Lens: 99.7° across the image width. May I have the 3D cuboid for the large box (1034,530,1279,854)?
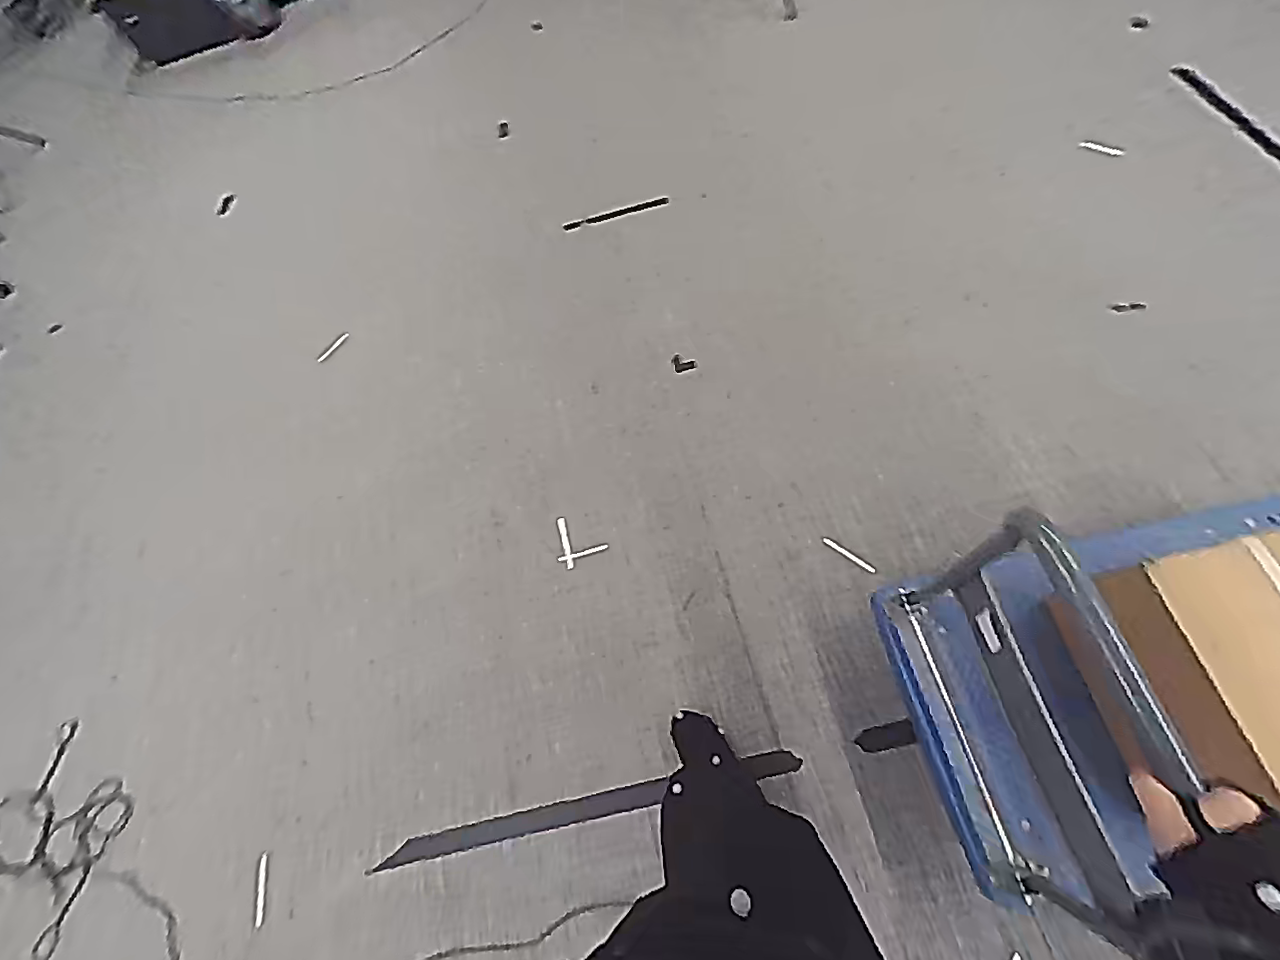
[{"bbox_3d":[0.980,0.342,0.908,0.320,0.320,0.408,-14,64,4],"label":"large box"}]
